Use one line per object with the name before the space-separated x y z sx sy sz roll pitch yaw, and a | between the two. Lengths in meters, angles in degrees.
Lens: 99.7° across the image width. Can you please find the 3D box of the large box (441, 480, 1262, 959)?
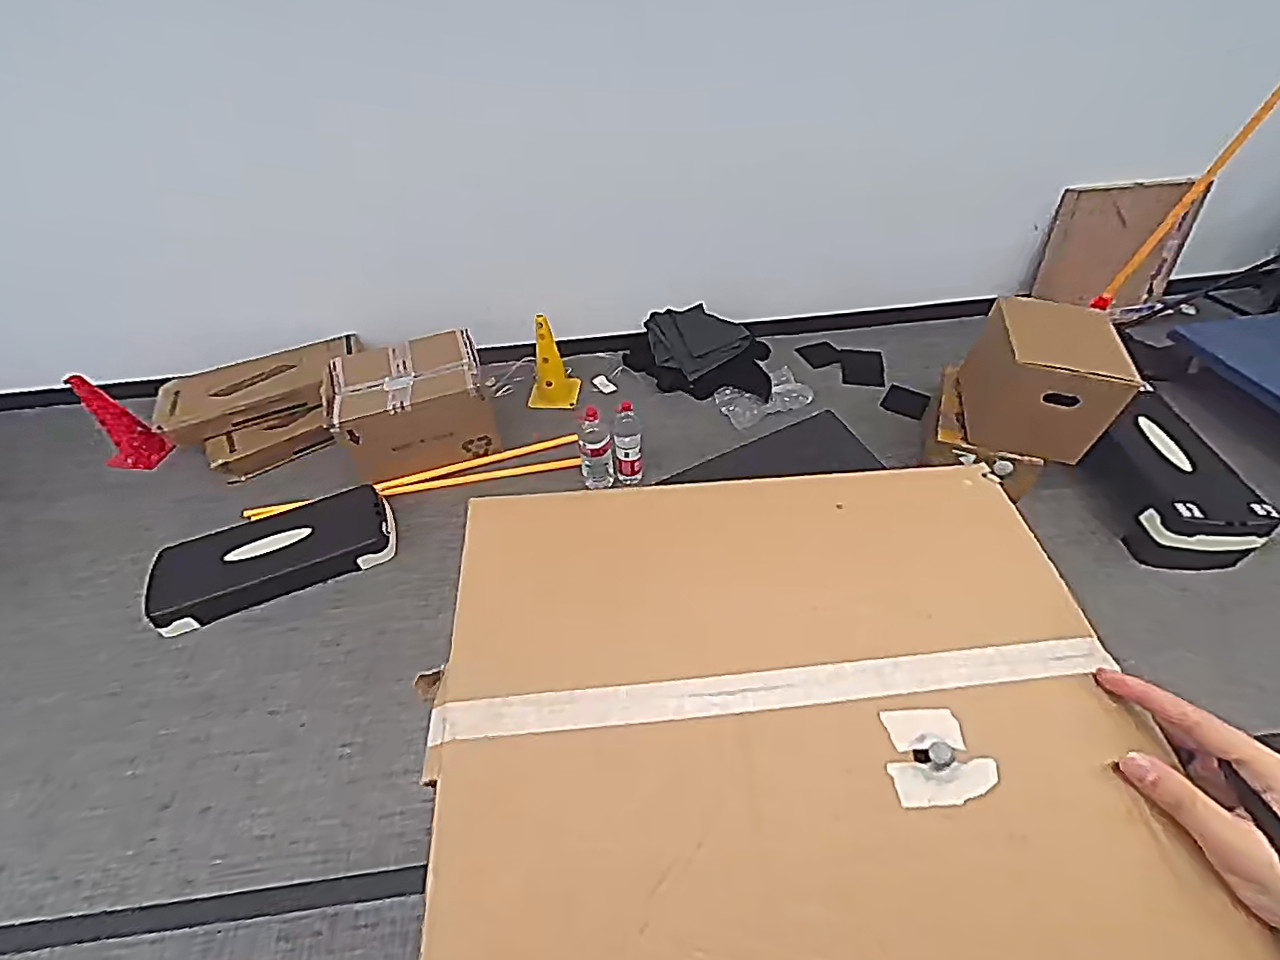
large box | 0.084 0.225 0.449 0.408 0.320 0.320 -4 53 -5
